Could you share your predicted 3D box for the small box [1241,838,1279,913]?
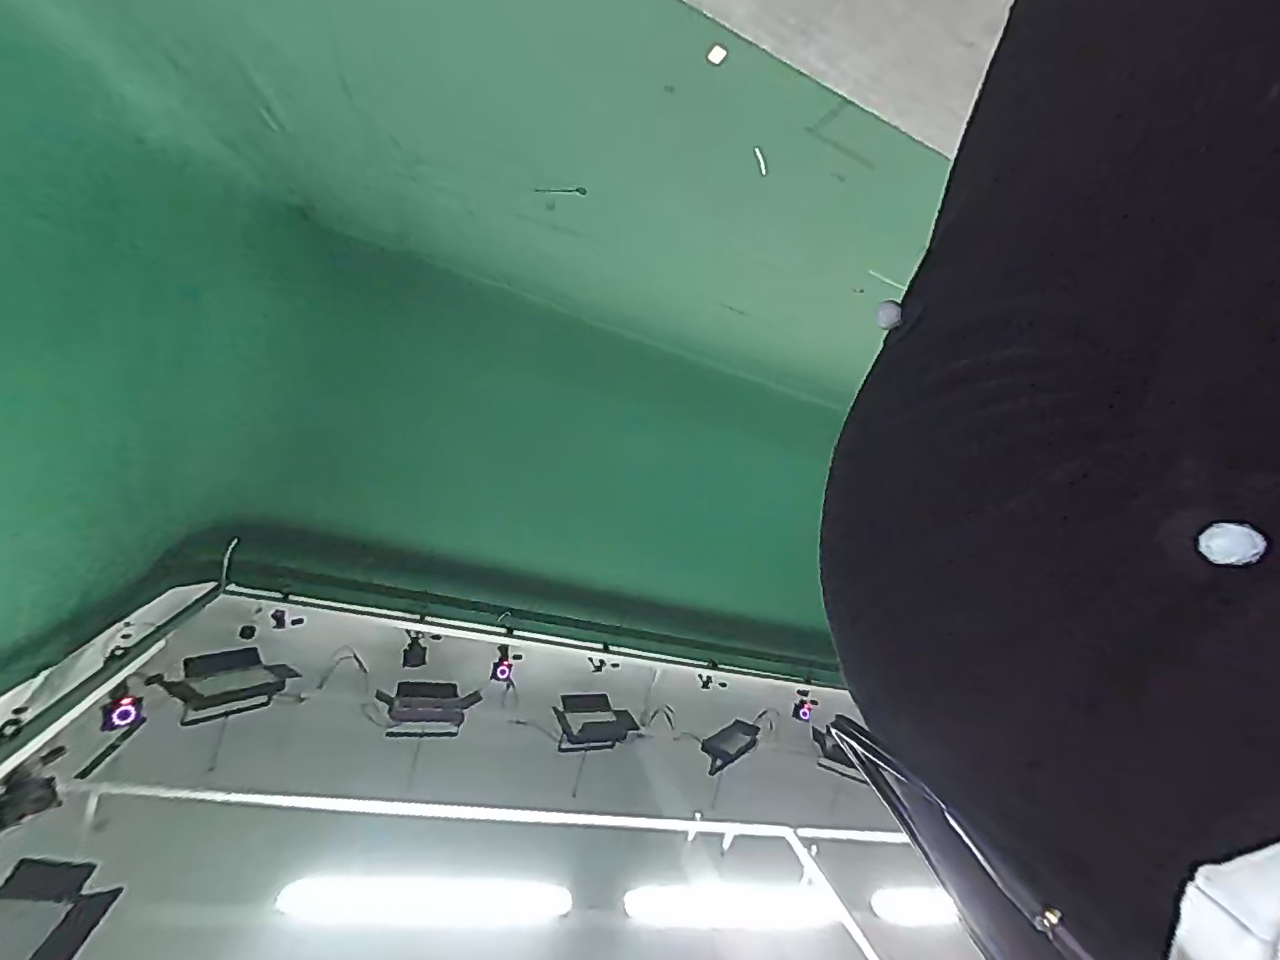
[{"bbox_3d":[2.001,1.228,1.636,0.168,0.176,0.179,15,-176,-21],"label":"small box"}]
